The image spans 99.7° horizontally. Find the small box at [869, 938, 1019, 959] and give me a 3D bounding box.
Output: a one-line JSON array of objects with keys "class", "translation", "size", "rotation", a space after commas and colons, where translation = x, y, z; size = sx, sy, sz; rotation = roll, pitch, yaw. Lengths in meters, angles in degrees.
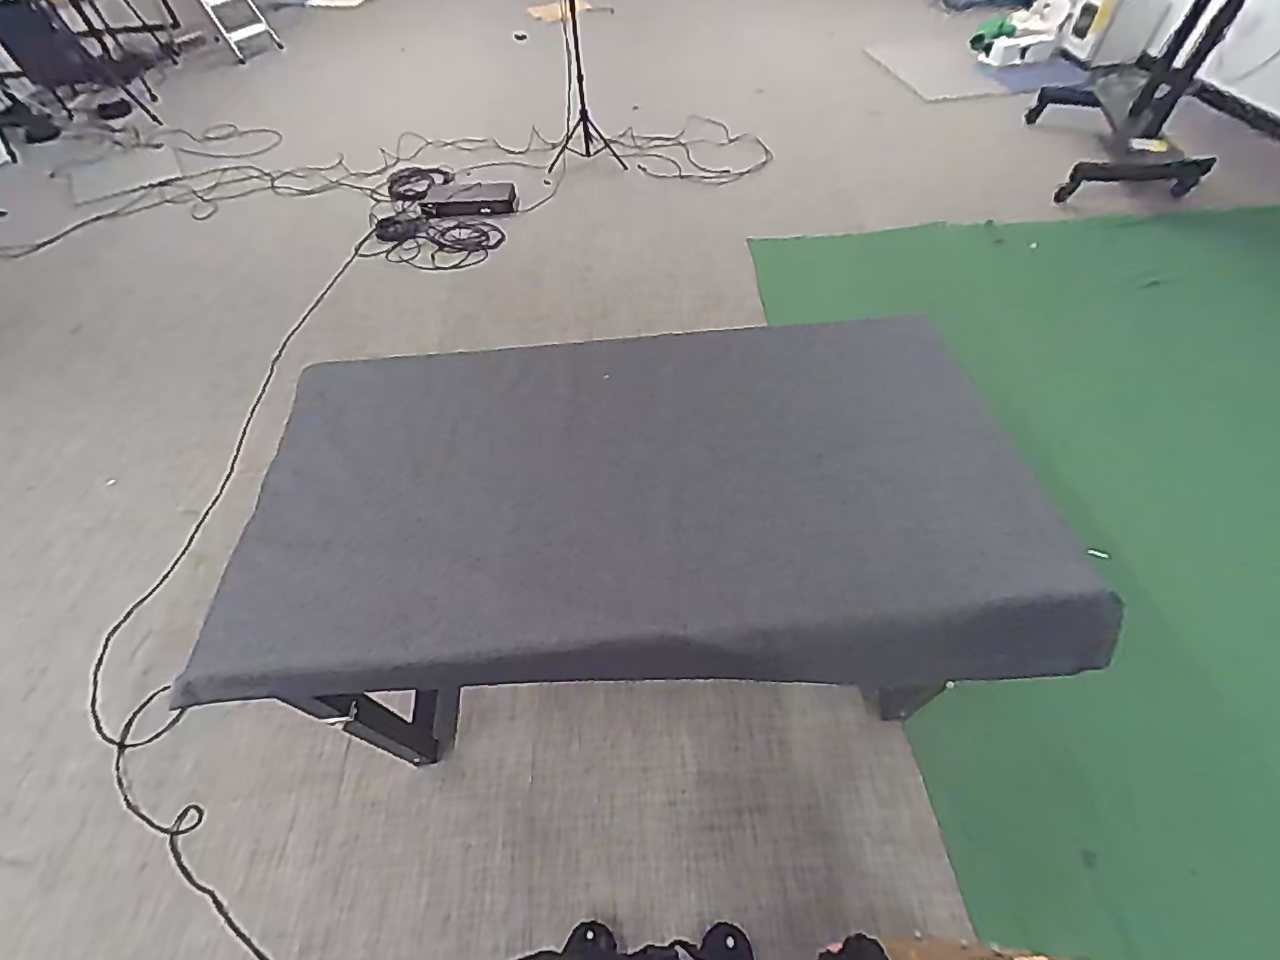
[{"class": "small box", "translation": [0.479, 0.816, 0.829], "size": [0.179, 0.176, 0.168], "rotation": [-1, 52, 2]}]

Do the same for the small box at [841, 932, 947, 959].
[{"class": "small box", "translation": [0.480, 0.915, 0.961], "size": [0.179, 0.176, 0.168], "rotation": [-2, 52, 2]}]
